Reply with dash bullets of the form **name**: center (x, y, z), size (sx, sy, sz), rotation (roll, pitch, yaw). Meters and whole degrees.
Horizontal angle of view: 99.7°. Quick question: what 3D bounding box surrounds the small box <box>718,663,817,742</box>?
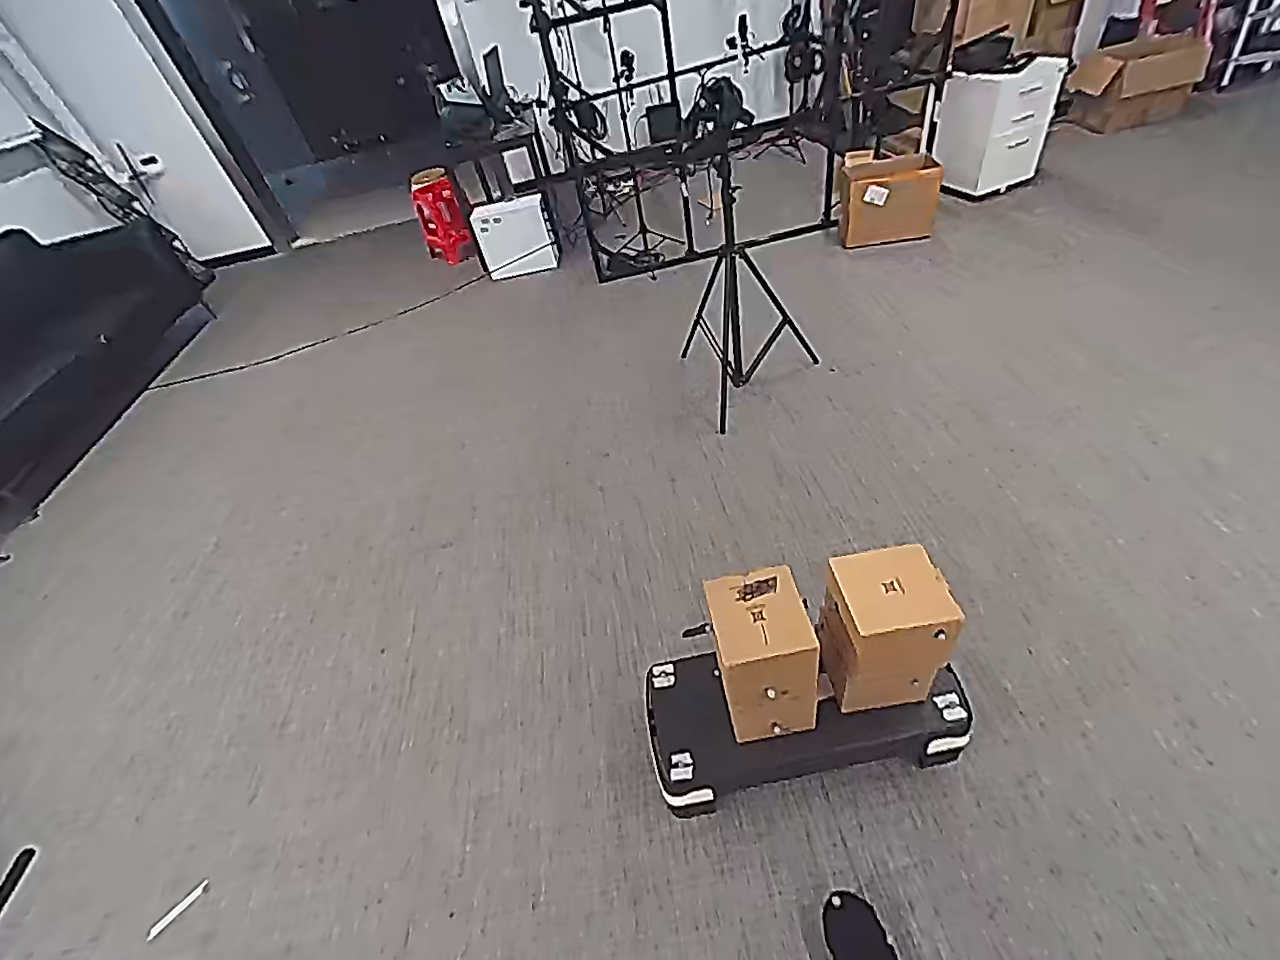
- **small box**: center (0.255, 0.413, 1.122), size (0.168, 0.176, 0.179), rotation (-12, 43, 3)

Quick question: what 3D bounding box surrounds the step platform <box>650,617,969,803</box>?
- **step platform**: center (0.365, 0.506, 1.251), size (0.684, 0.204, 0.286), rotation (-14, 43, 2)

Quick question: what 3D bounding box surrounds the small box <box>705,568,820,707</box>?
- **small box**: center (0.223, 0.295, 1.012), size (0.168, 0.176, 0.179), rotation (-12, 43, 2)

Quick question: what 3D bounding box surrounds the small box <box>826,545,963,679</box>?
- **small box**: center (0.456, 0.248, 1.002), size (0.179, 0.176, 0.168), rotation (-11, 43, 3)
